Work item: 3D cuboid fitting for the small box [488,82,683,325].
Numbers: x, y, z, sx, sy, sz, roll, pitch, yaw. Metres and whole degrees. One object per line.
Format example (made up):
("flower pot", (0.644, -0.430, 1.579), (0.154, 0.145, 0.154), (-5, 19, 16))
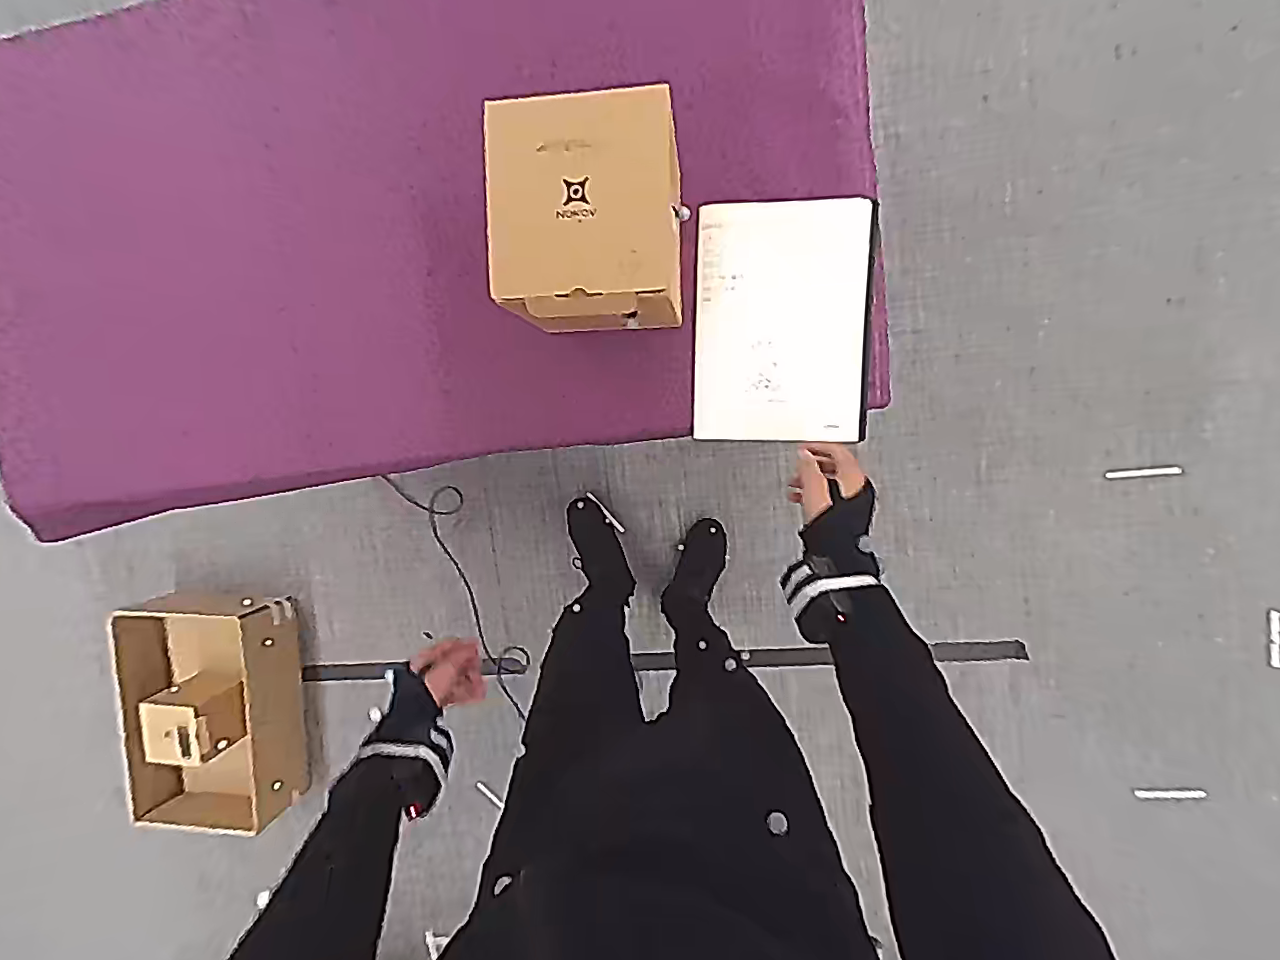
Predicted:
("small box", (-0.043, -0.259, 0.554), (0.168, 0.176, 0.179), (0, 95, 7))
